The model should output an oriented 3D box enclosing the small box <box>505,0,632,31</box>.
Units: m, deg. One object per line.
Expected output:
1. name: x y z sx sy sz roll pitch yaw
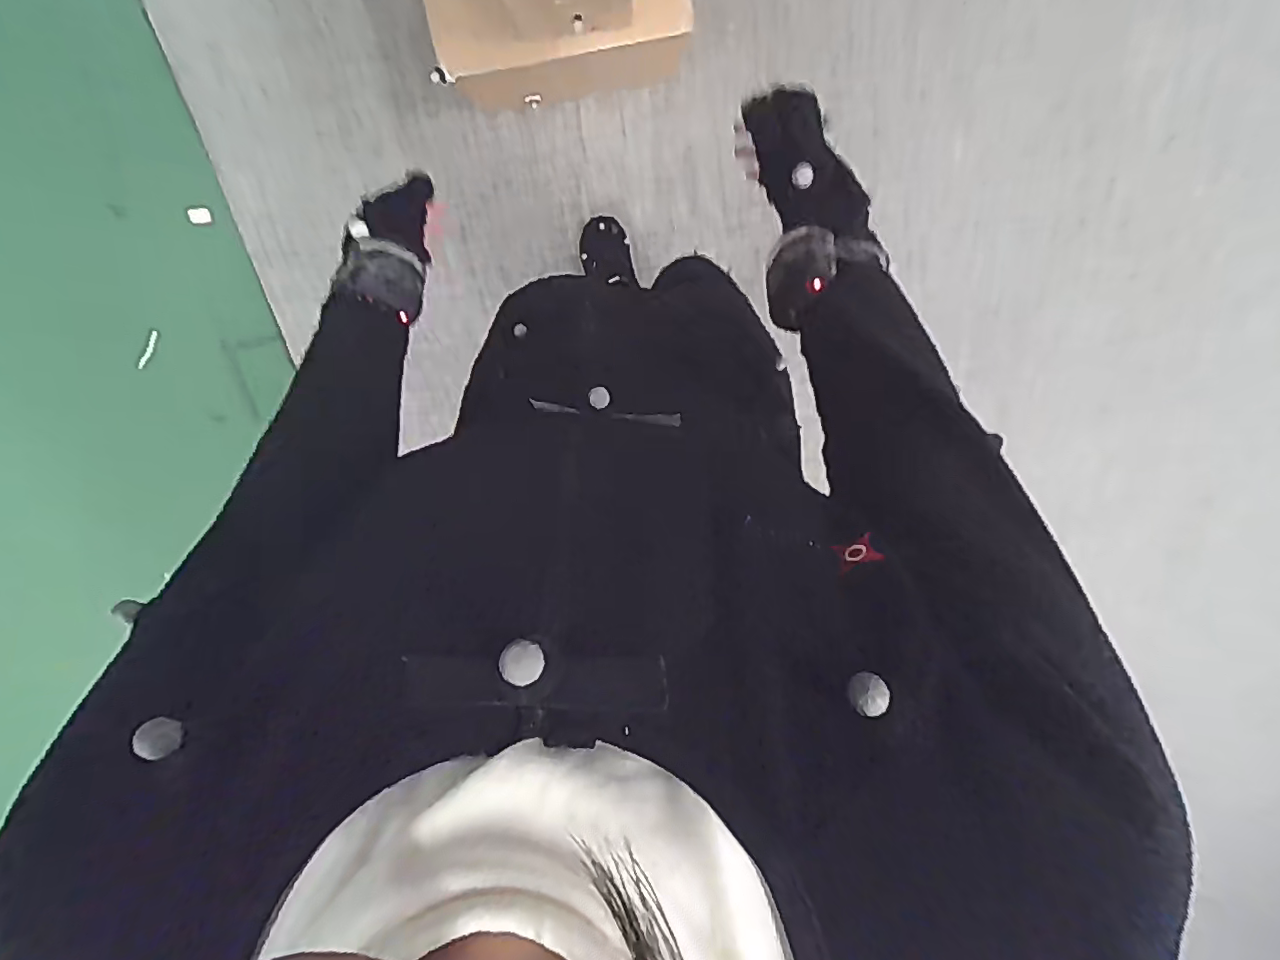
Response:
1. small box: -0.101 -0.729 0.719 0.168 0.176 0.179 -6 118 2
